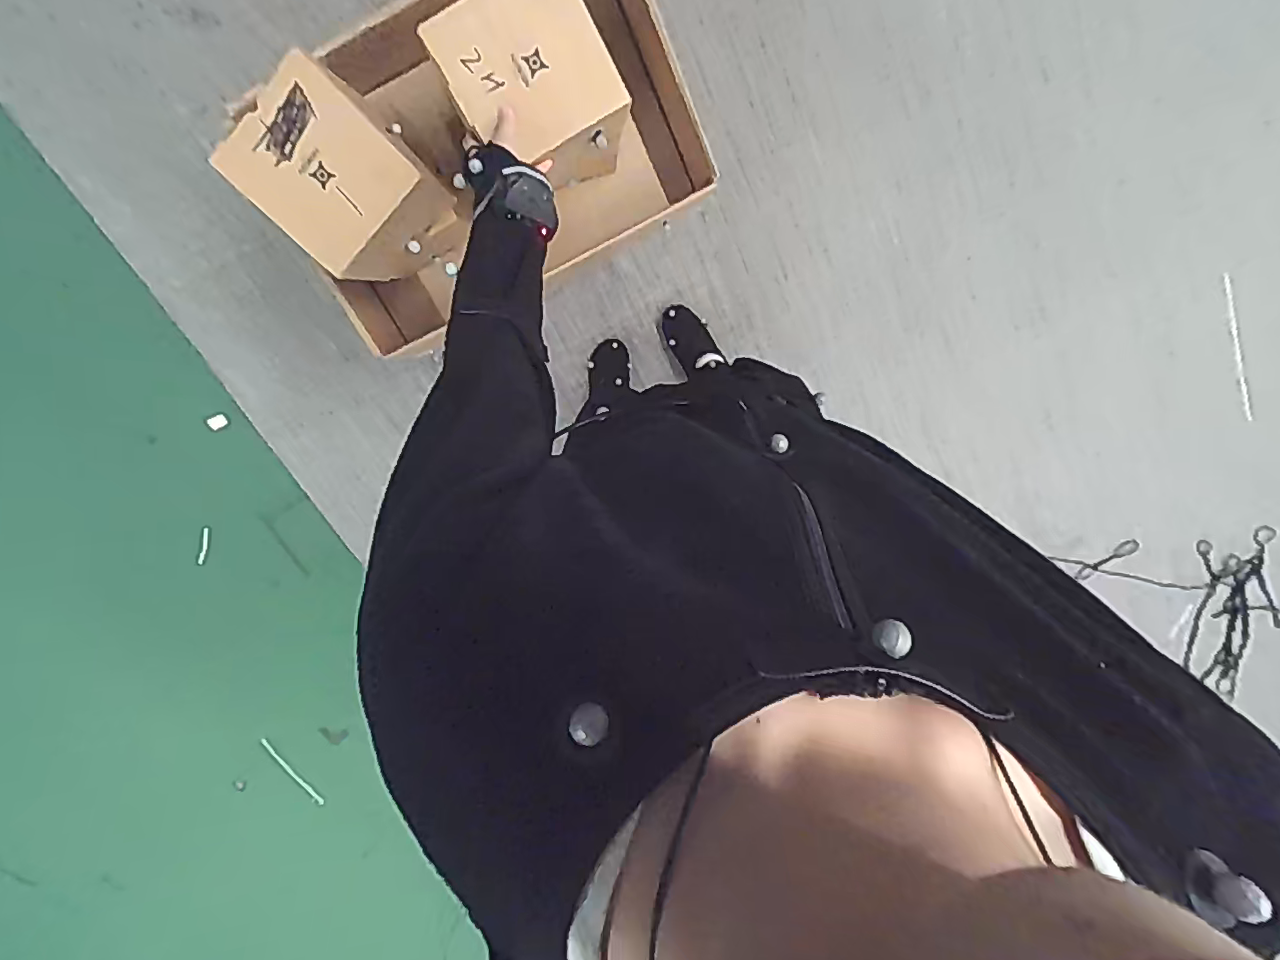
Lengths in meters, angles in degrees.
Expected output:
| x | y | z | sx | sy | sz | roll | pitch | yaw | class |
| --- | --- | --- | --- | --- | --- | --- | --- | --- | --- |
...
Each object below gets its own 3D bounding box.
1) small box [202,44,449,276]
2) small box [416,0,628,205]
| x | y | z | sx | sy | sz | roll | pitch | yaw | class |
| --- | --- | --- | --- | --- | --- | --- | --- | --- | --- |
| -0.377 | -0.379 | 0.685 | 0.168 | 0.176 | 0.179 | -42 | 107 | 10 | small box |
| -0.137 | -0.472 | 0.663 | 0.179 | 0.176 | 0.168 | -30 | 106 | 0 | small box |
